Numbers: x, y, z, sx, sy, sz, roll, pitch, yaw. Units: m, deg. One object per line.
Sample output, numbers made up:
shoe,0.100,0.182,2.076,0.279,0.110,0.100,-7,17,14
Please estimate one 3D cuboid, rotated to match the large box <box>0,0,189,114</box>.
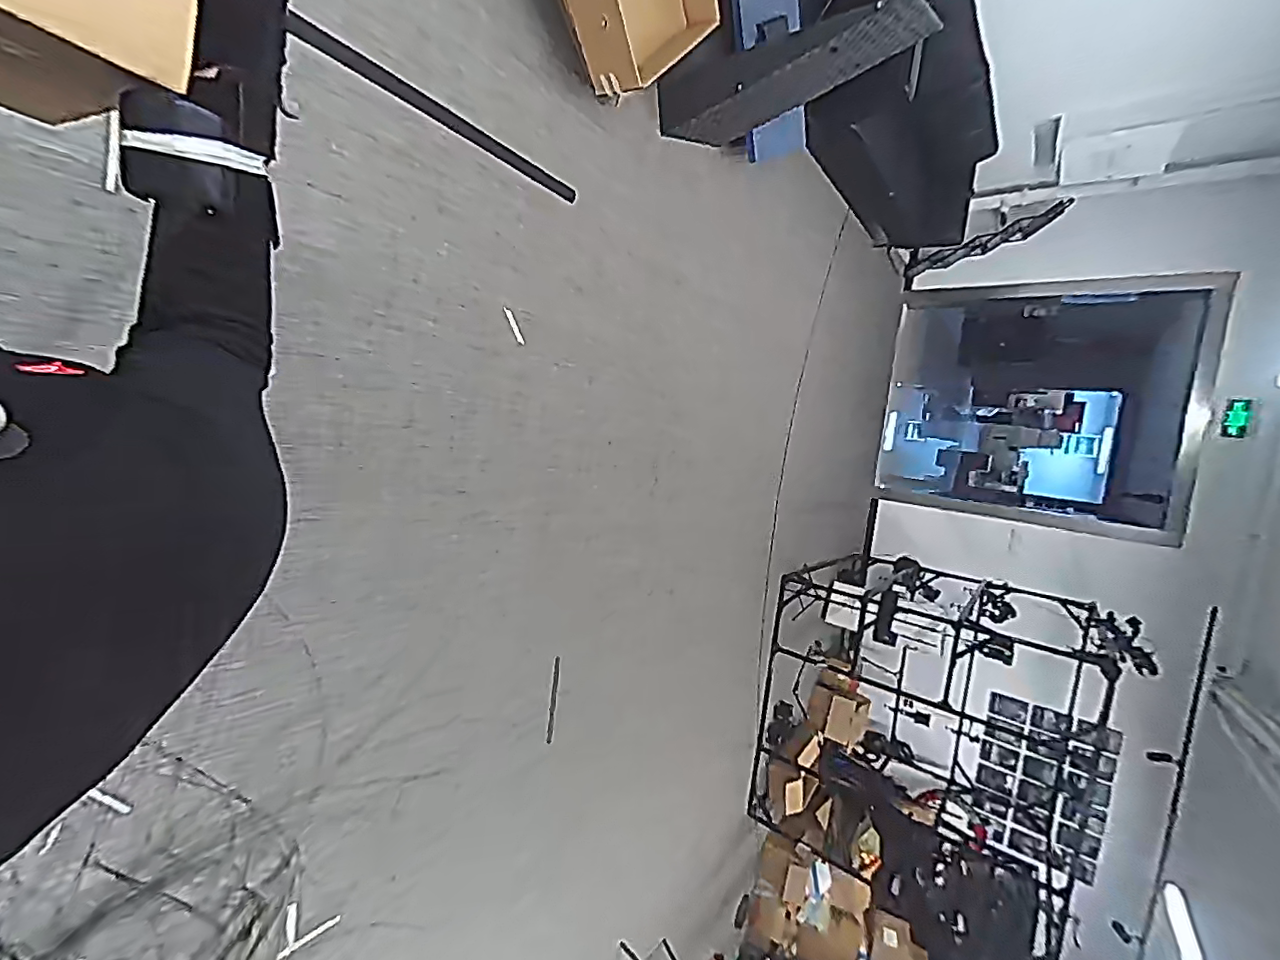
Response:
large box,-0.494,-0.437,0.236,0.408,0.320,0.320,-1,108,-59
